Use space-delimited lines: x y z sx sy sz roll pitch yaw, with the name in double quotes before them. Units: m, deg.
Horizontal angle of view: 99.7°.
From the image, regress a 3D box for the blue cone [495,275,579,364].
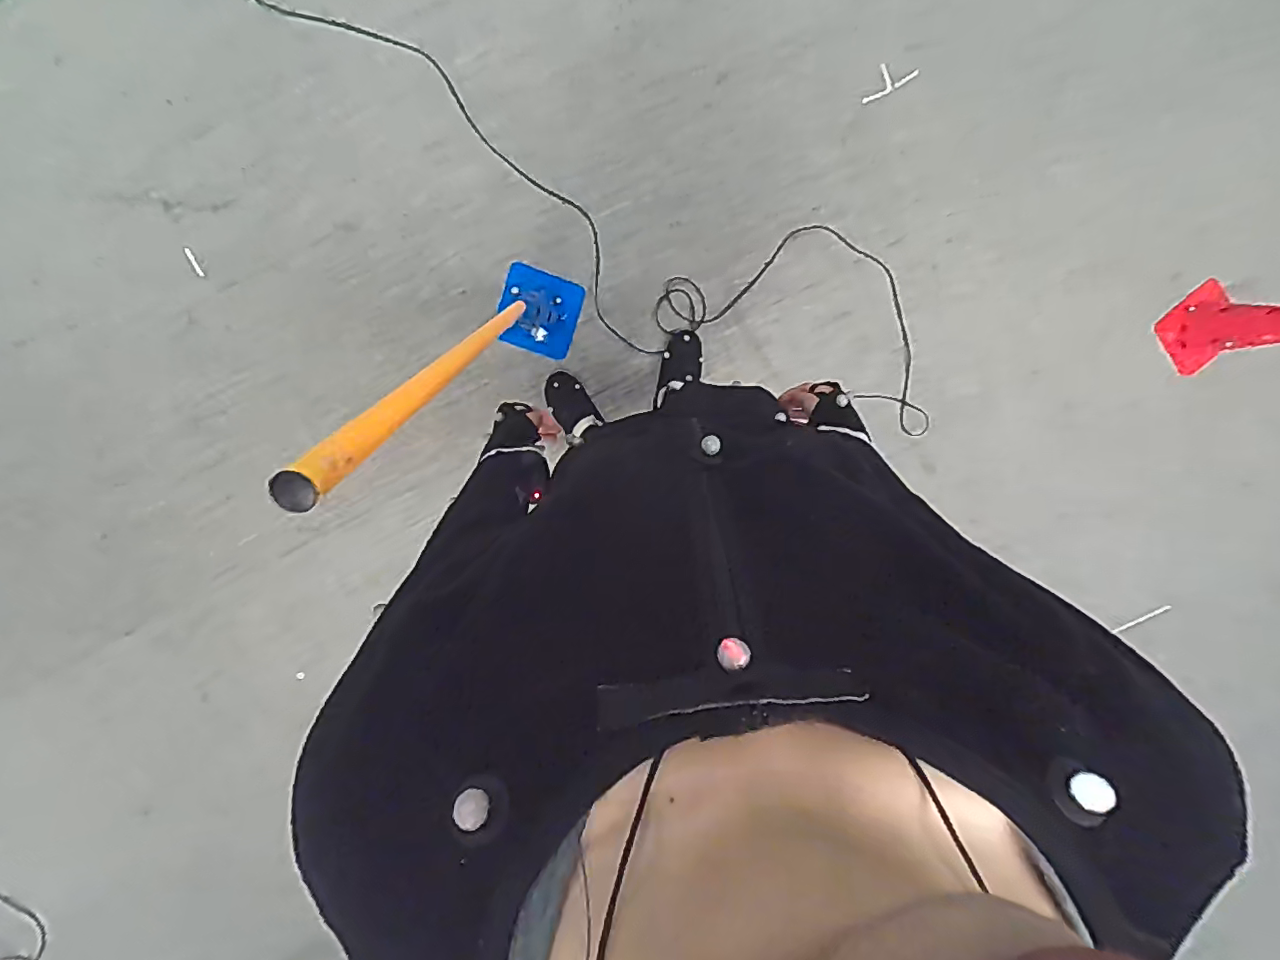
"blue cone" -0.249 -0.359 1.212 0.192 0.380 0.193 17 104 -9
